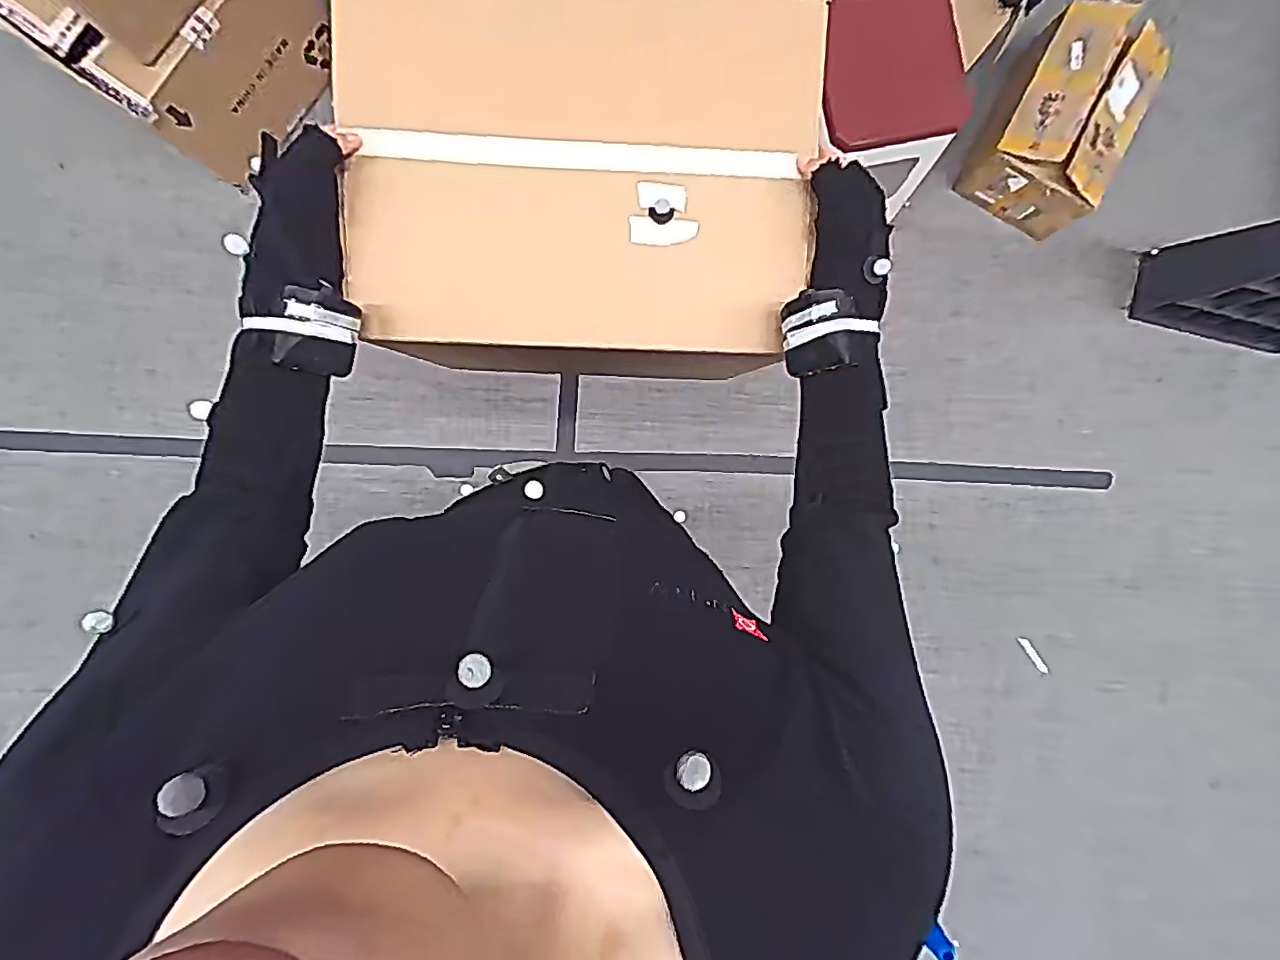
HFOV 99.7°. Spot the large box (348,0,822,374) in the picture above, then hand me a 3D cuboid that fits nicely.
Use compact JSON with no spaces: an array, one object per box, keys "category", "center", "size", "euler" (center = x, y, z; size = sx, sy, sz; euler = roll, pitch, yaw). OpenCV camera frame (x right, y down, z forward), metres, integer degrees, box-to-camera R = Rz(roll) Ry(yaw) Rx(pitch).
[{"category":"large box","center":[-0.054,-0.291,0.612],"size":[0.408,0.320,0.320],"euler":[1,97,-5]}]
